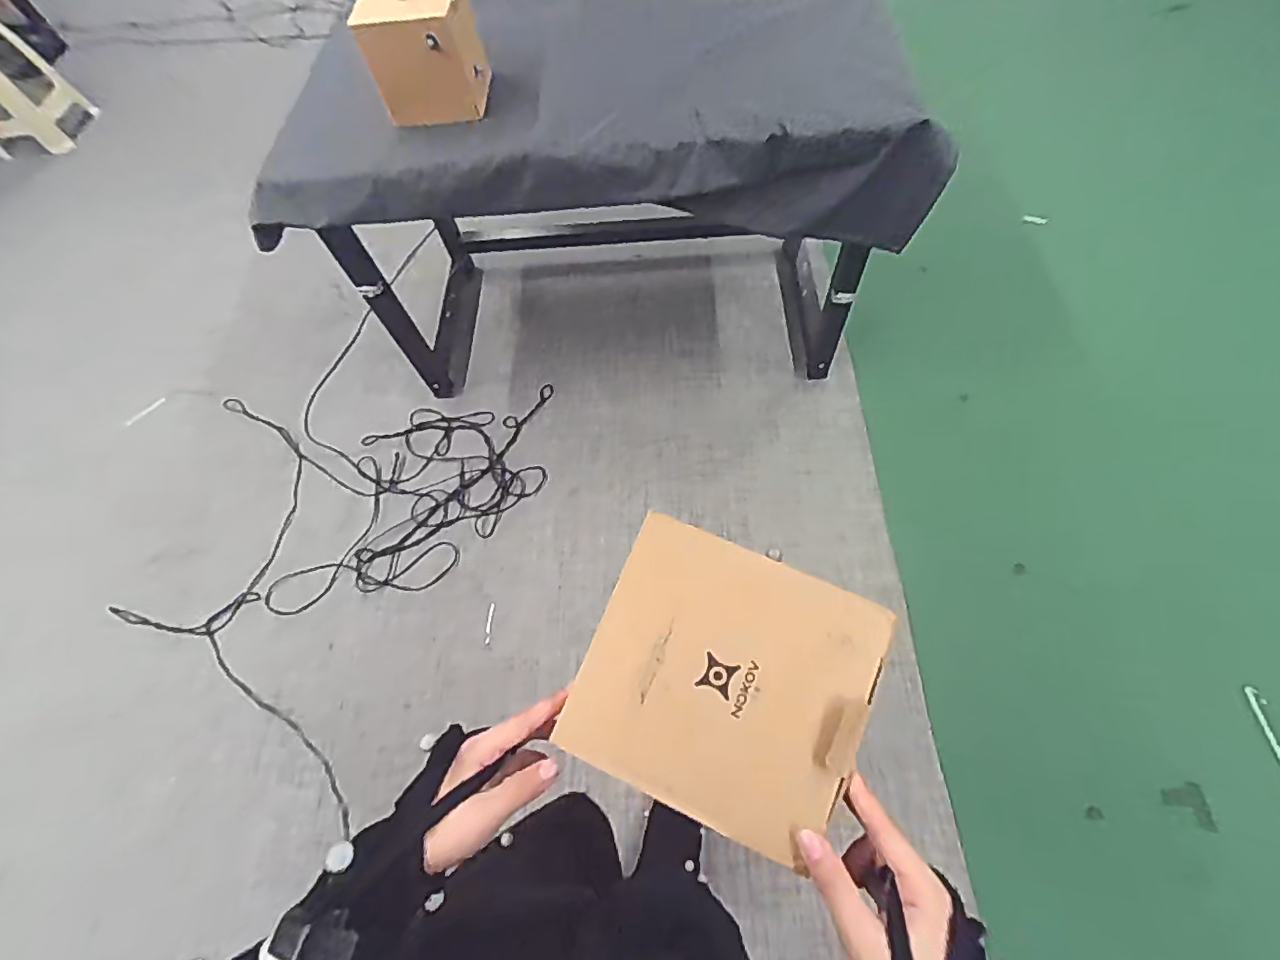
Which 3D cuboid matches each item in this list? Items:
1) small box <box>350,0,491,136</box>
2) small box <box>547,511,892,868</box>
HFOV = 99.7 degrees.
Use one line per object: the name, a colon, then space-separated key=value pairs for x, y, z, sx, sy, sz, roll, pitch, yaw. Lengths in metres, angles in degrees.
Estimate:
small box: x=-0.400 y=-0.777 z=1.016 sx=0.179 sy=0.176 sz=0.168 roll=-3 pitch=62 yaw=3
small box: x=0.059 y=0.142 z=0.420 sx=0.179 sy=0.176 sz=0.168 roll=21 pitch=78 yaw=12
